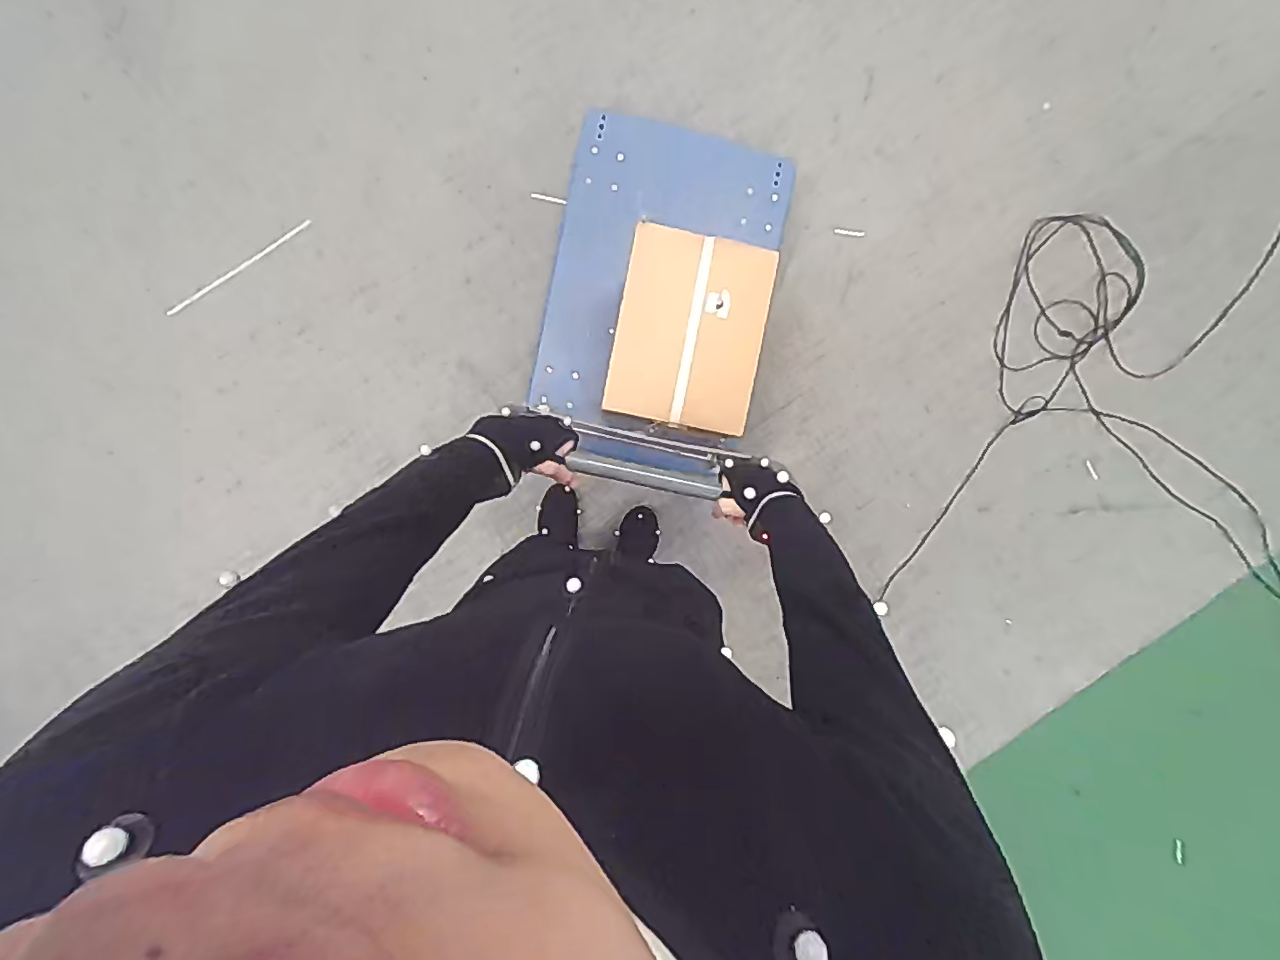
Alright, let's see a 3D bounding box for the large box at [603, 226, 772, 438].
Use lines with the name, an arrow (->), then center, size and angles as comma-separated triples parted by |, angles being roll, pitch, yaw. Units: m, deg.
large box -> 0.094, -0.327, 1.320 | 0.320, 0.320, 0.408 | 11, 91, -5
